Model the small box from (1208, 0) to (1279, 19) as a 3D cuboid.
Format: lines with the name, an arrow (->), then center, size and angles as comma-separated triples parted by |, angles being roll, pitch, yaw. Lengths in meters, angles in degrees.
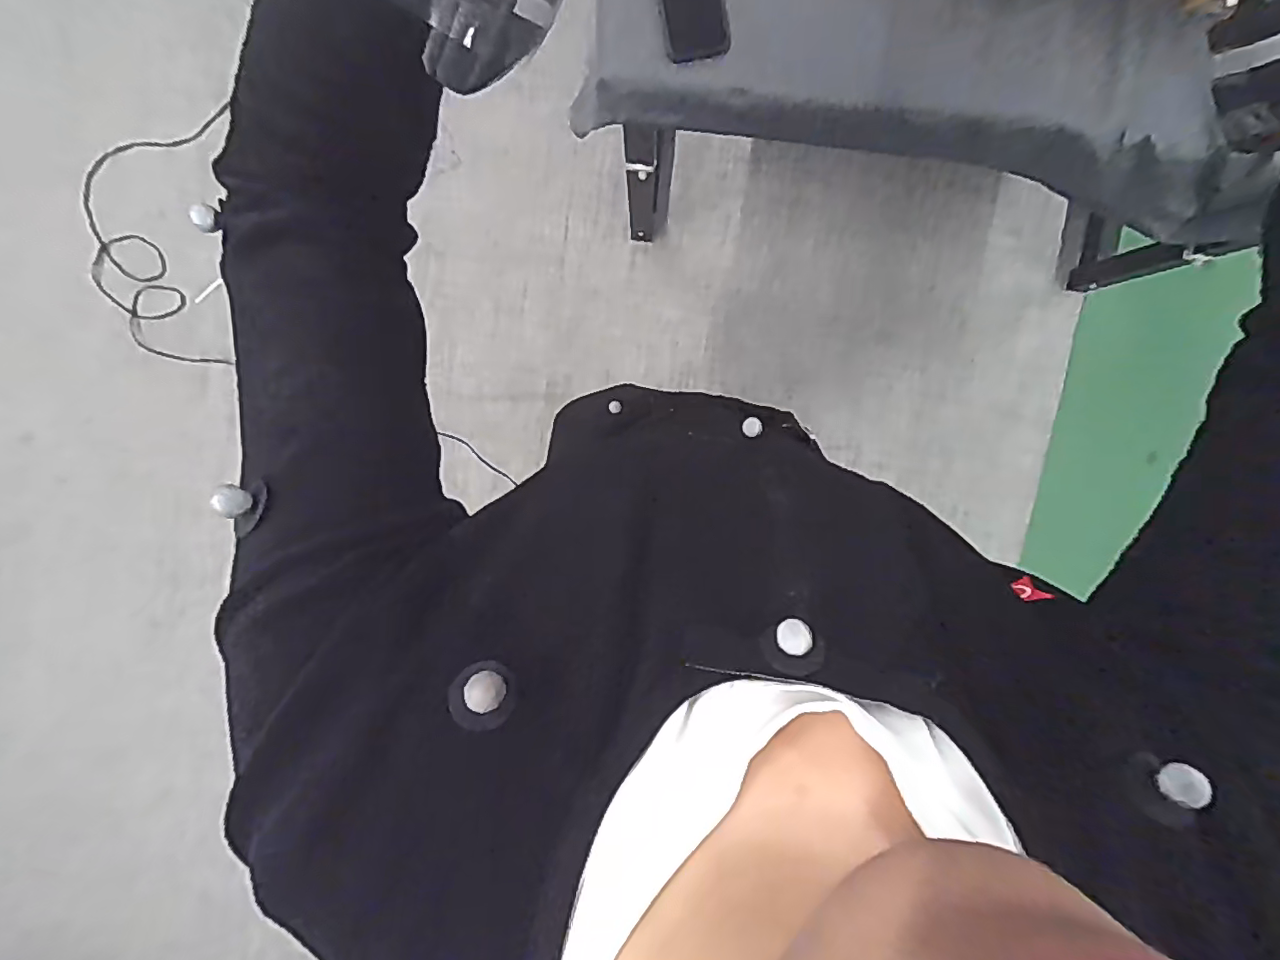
small box -> 0.745, -0.637, 0.568 | 0.168, 0.176, 0.179 | 9, 97, -2
